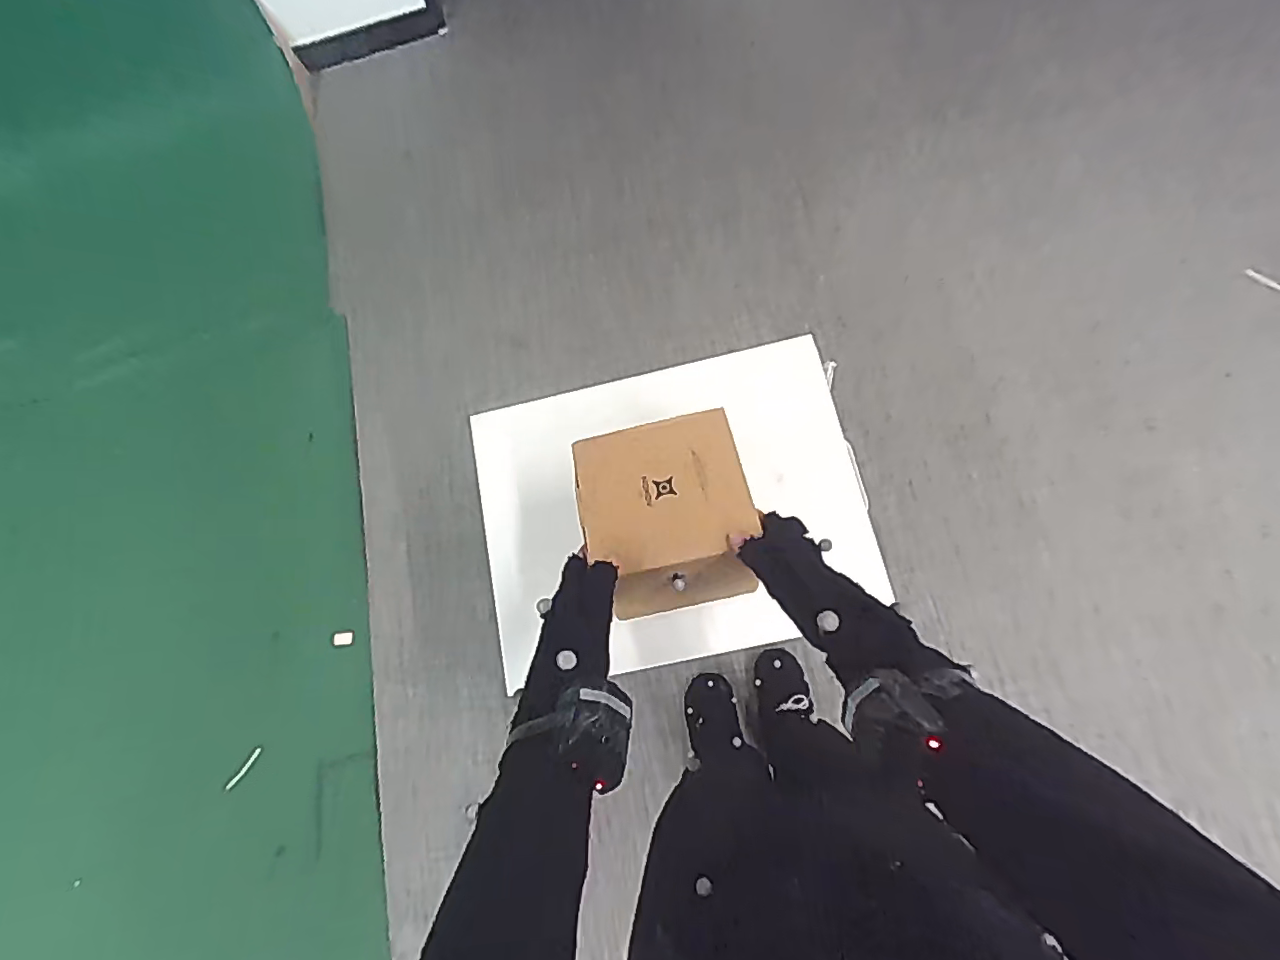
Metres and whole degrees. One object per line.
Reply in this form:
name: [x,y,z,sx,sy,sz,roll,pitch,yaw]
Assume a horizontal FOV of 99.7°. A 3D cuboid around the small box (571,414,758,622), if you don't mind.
small box: [0.031,0.053,0.632,0.179,0.176,0.168,-13,60,2]
